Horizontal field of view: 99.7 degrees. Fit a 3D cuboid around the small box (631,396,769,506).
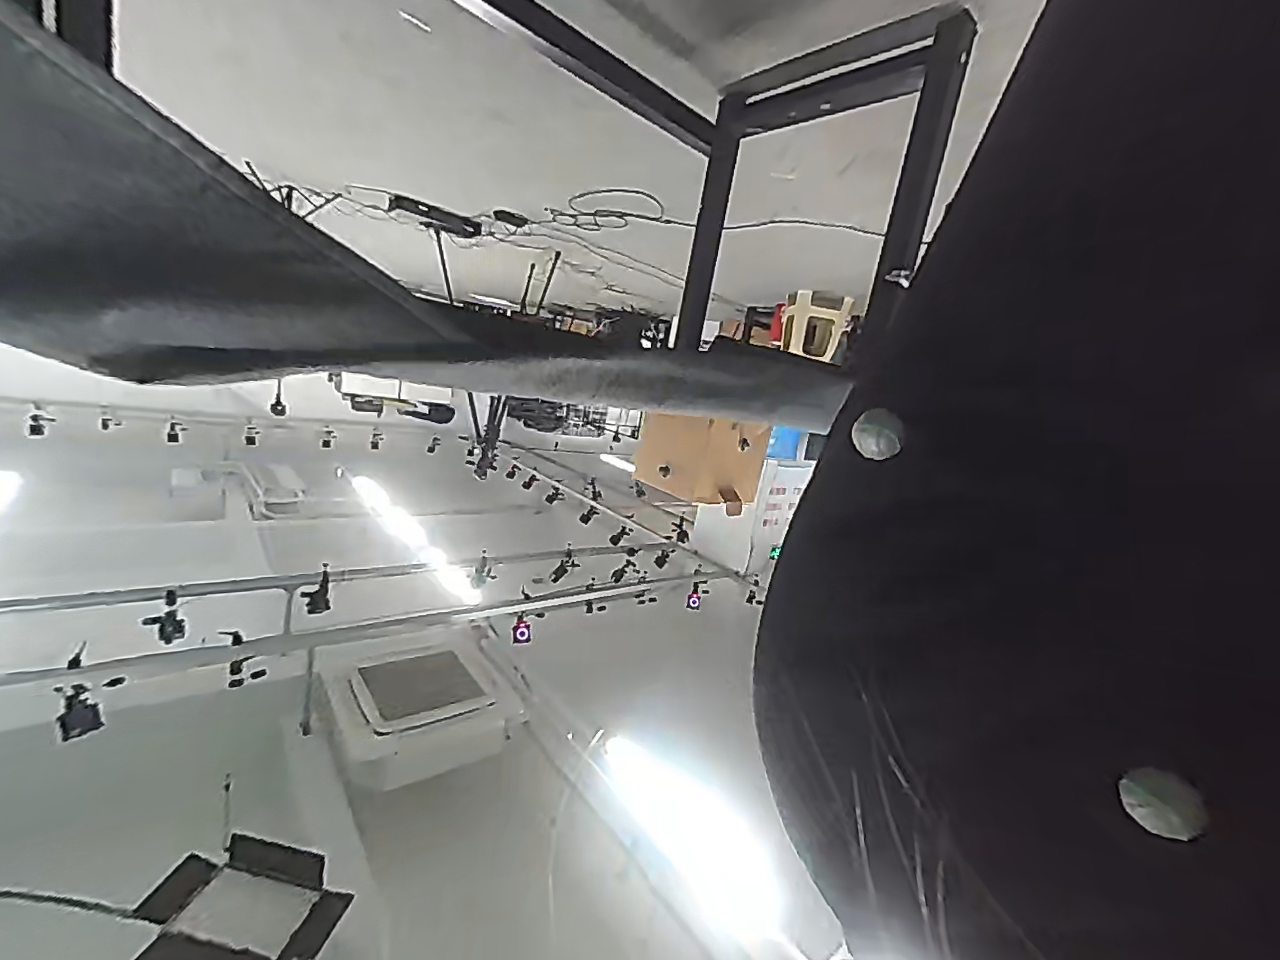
[{"bbox_3d":[0.111,-0.057,0.999,0.168,0.176,0.179,2,-167,-39],"label":"small box"}]
